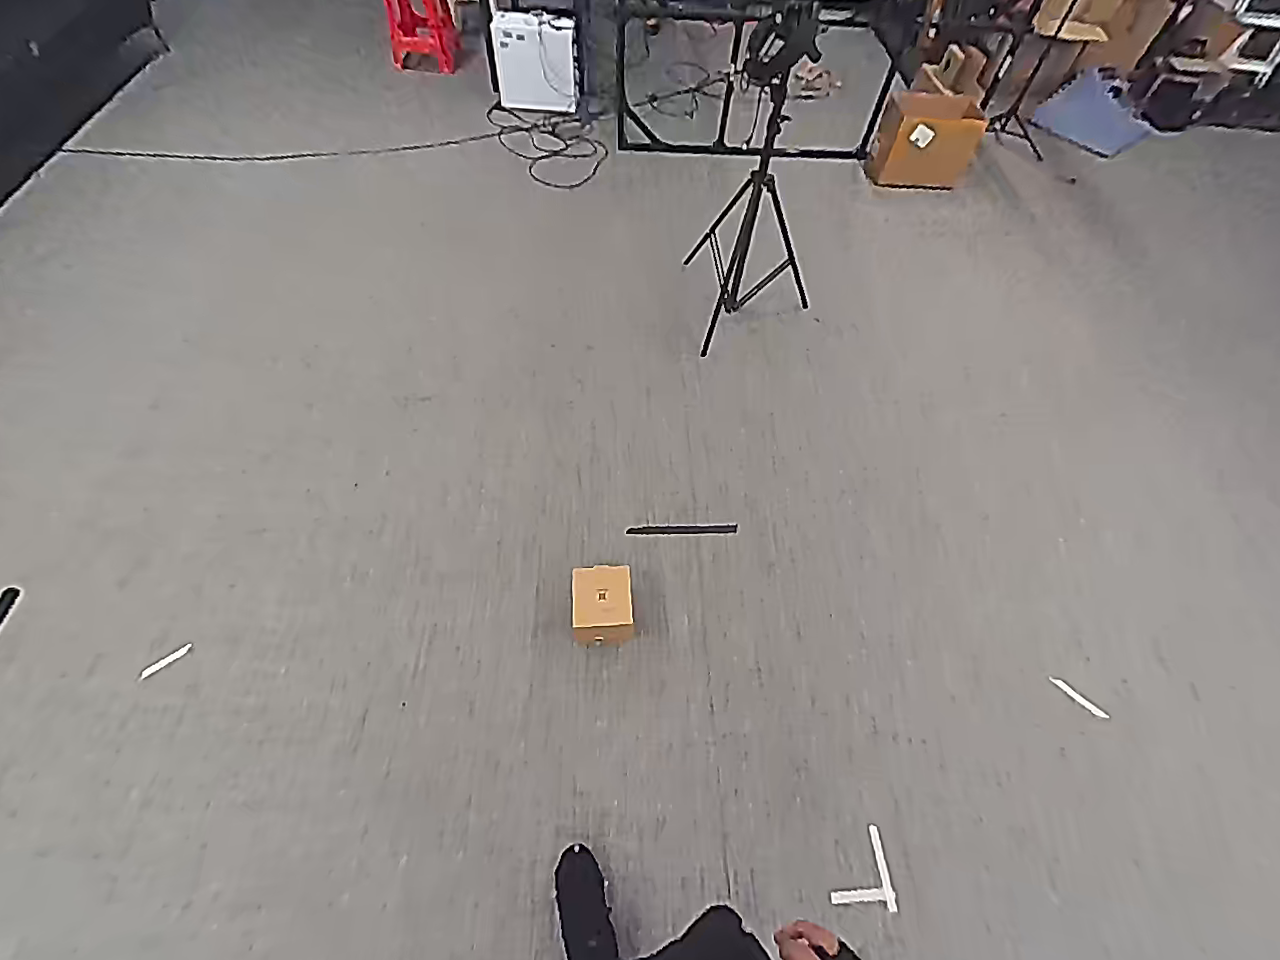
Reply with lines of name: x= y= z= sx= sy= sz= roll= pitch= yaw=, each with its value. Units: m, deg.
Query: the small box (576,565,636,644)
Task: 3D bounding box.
small box: x=-0.100 y=0.363 z=1.569 sx=0.168 sy=0.176 sz=0.179 roll=-2 pitch=58 yaw=-3
